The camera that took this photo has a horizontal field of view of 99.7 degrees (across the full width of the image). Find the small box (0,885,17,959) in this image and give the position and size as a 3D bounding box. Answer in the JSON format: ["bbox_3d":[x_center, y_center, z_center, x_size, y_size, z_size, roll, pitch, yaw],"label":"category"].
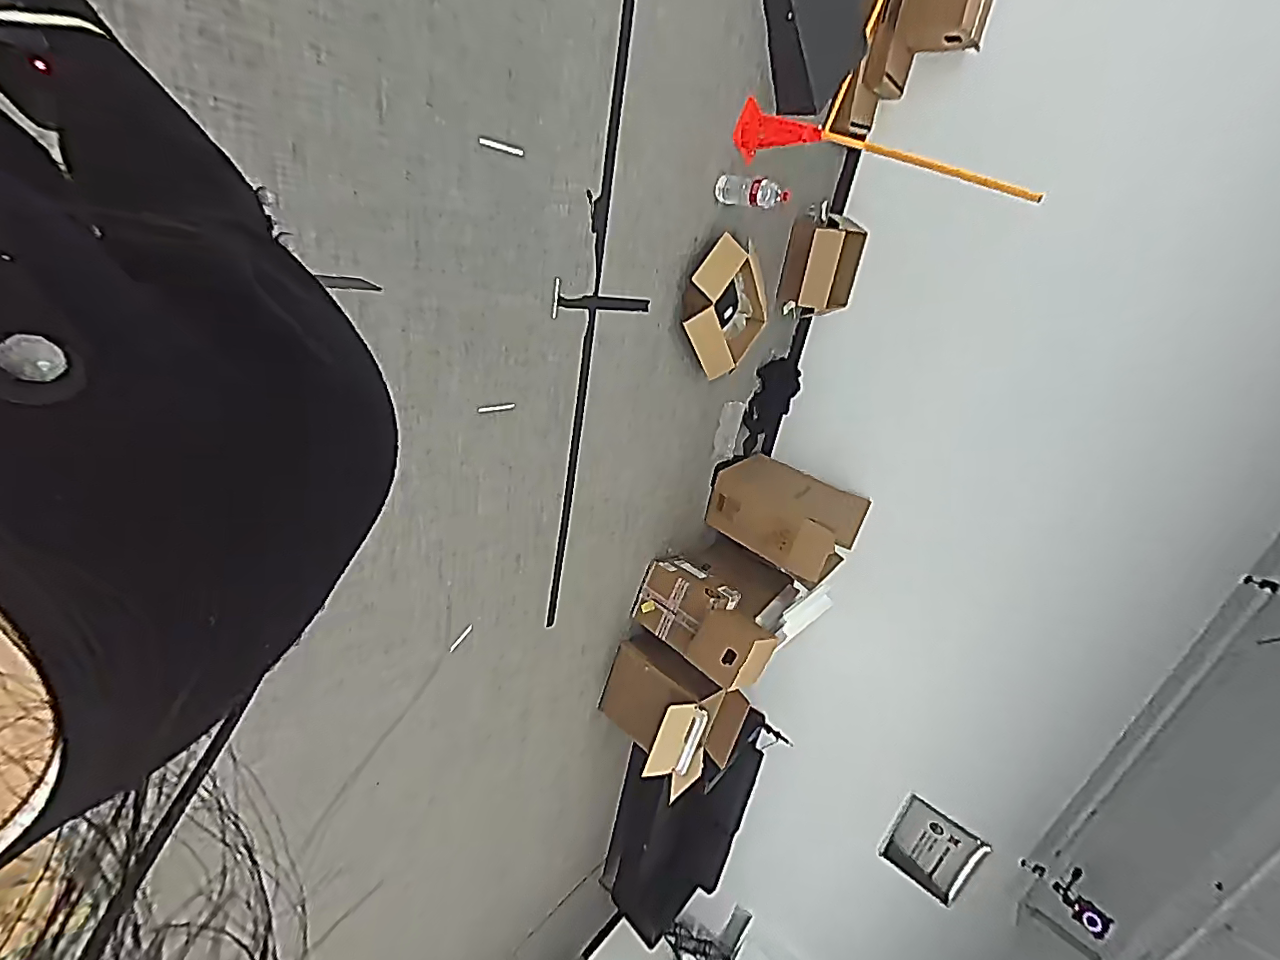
[{"bbox_3d":[-1.558,1.035,1.216,0.168,0.176,0.179,-19,128,-46],"label":"small box"}]
